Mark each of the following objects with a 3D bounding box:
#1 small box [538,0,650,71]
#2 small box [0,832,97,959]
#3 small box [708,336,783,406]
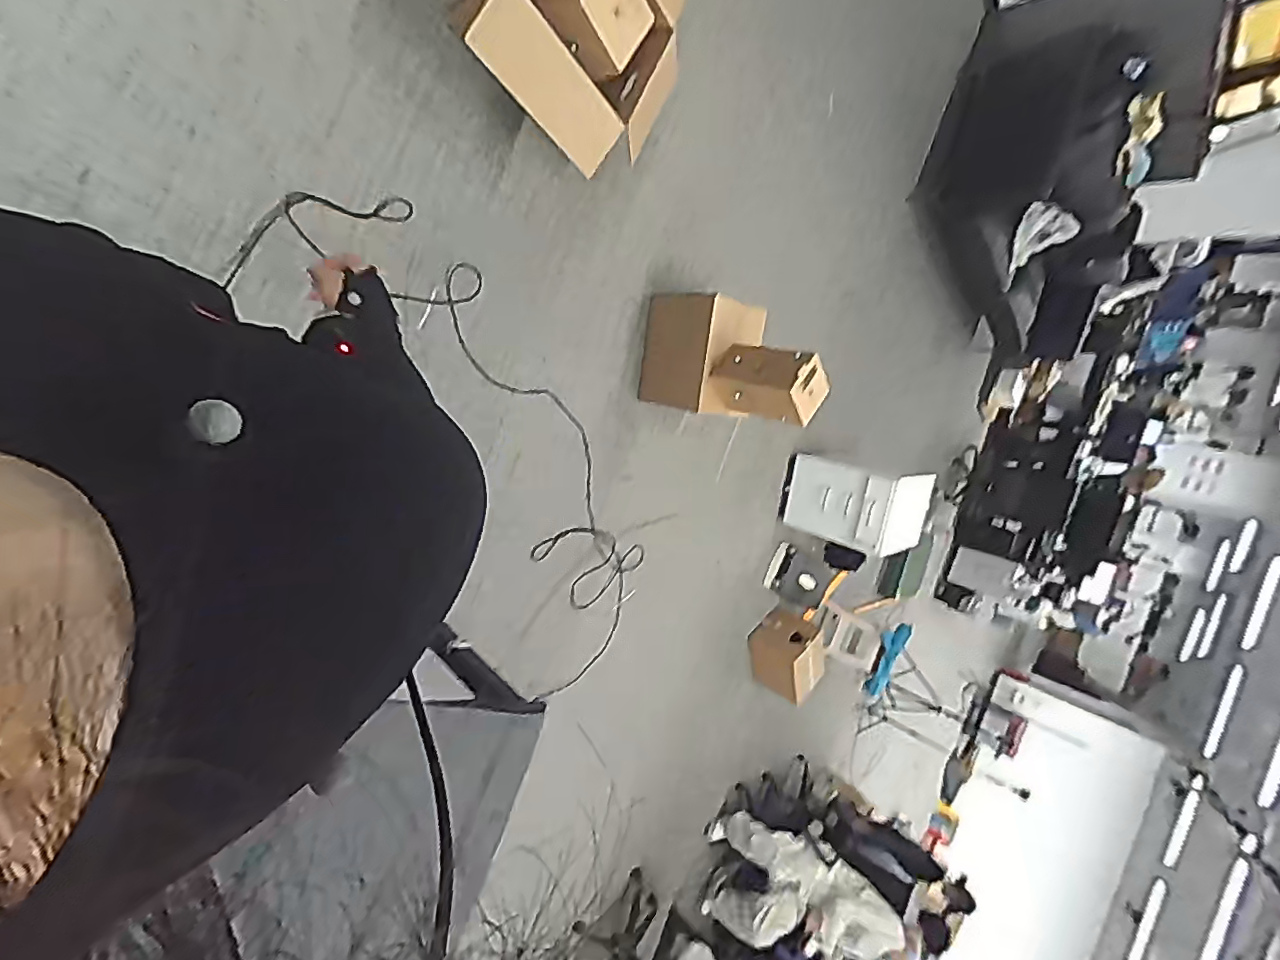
[{"bbox_3d":[-0.115,-1.125,1.287,0.168,0.176,0.179,38,77,-50],"label":"small box"},{"bbox_3d":[-0.680,0.466,0.509,0.168,0.176,0.179,-48,134,-21],"label":"small box"},{"bbox_3d":[0.365,-0.383,1.884,0.168,0.176,0.179,-53,133,-16],"label":"small box"}]
